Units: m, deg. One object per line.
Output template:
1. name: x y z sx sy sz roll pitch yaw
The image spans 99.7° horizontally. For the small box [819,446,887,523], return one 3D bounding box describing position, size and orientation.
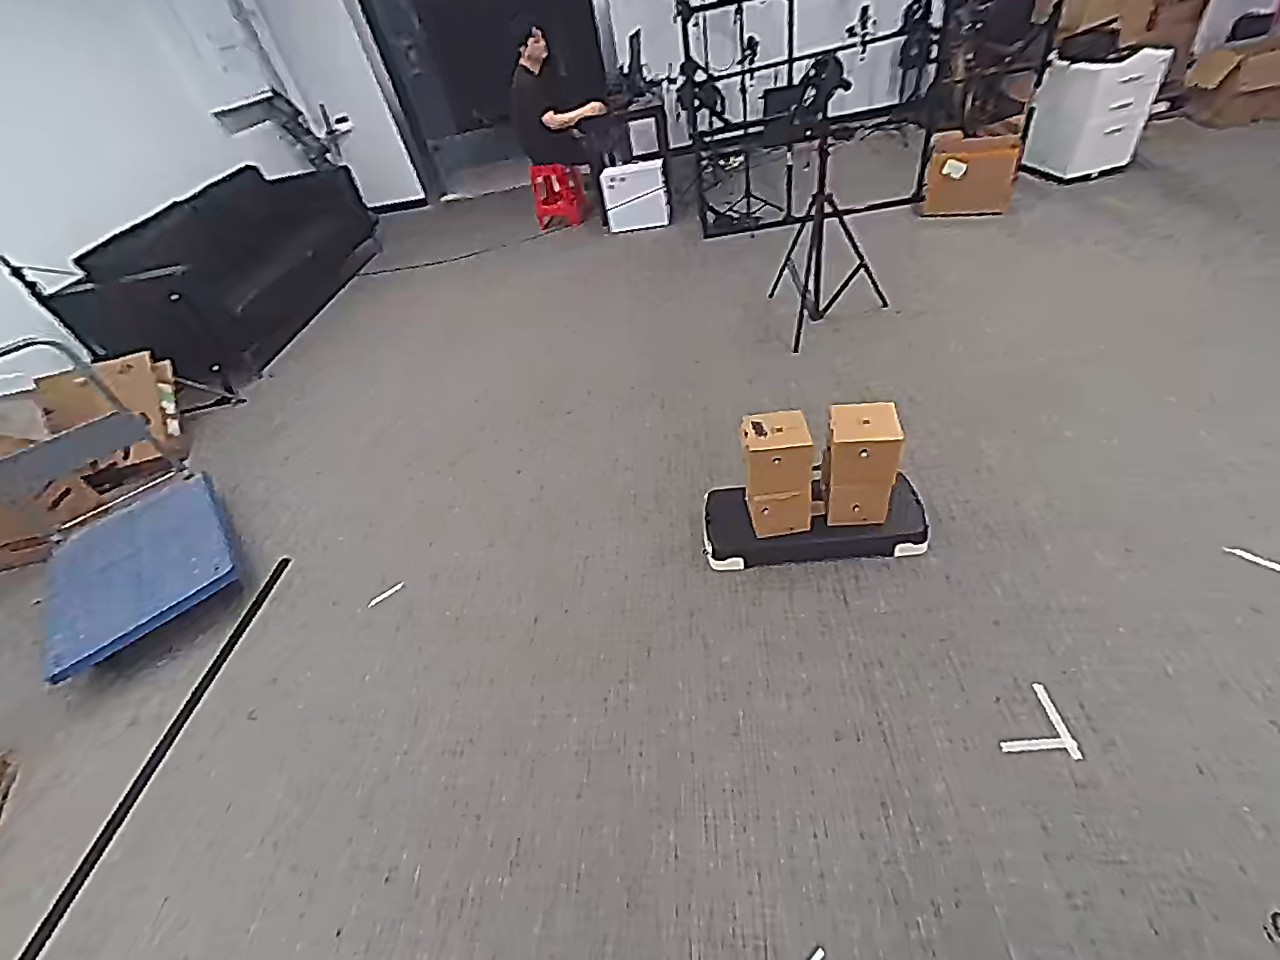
1. small box: 0.642 0.018 1.649 0.168 0.176 0.179 -4 43 11
